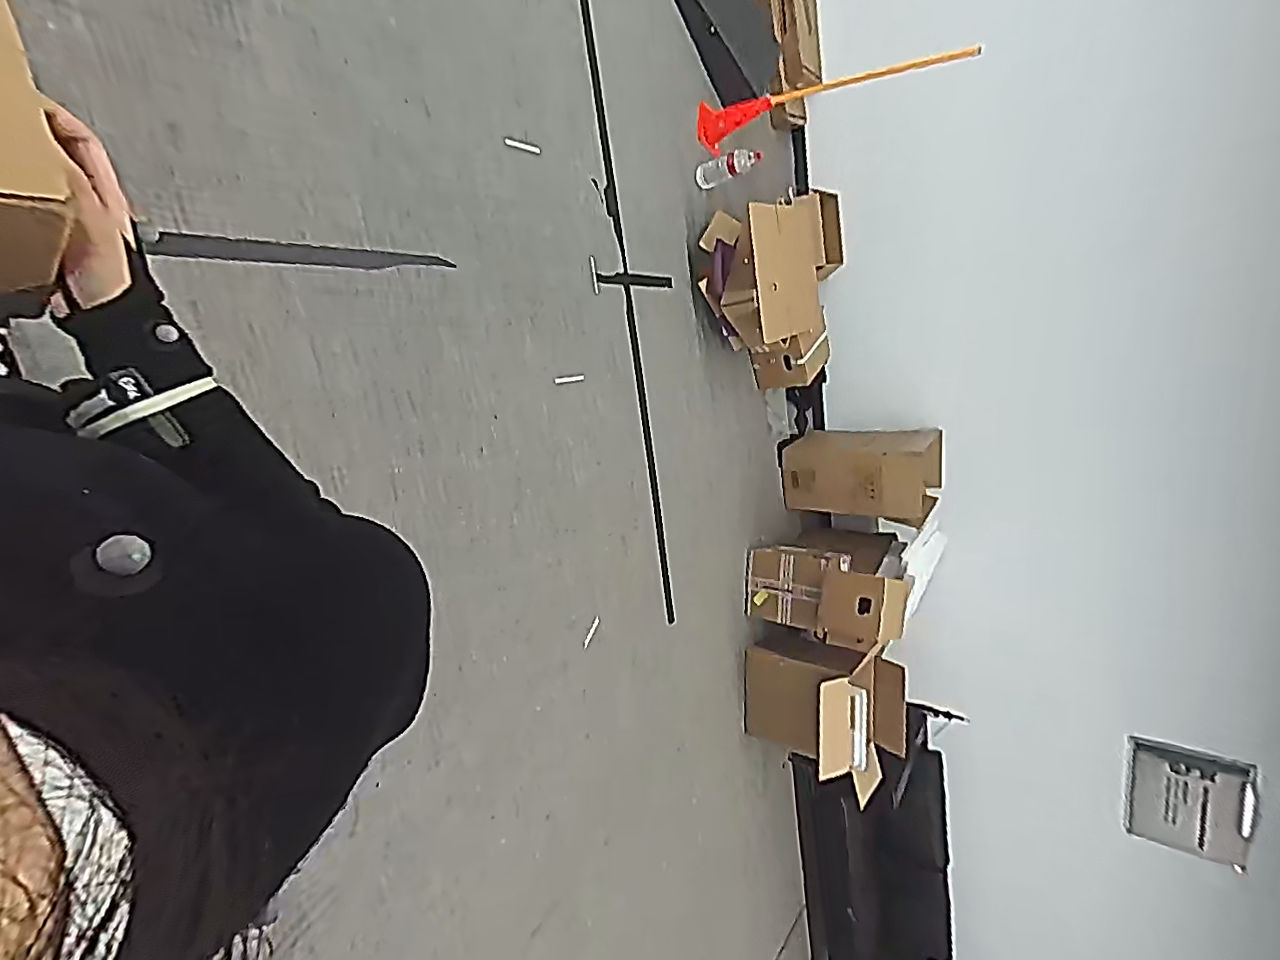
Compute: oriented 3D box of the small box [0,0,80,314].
[{"bbox_3d":[-0.419,-0.190,0.261,0.168,0.176,0.179,-20,98,-52],"label":"small box"}]
